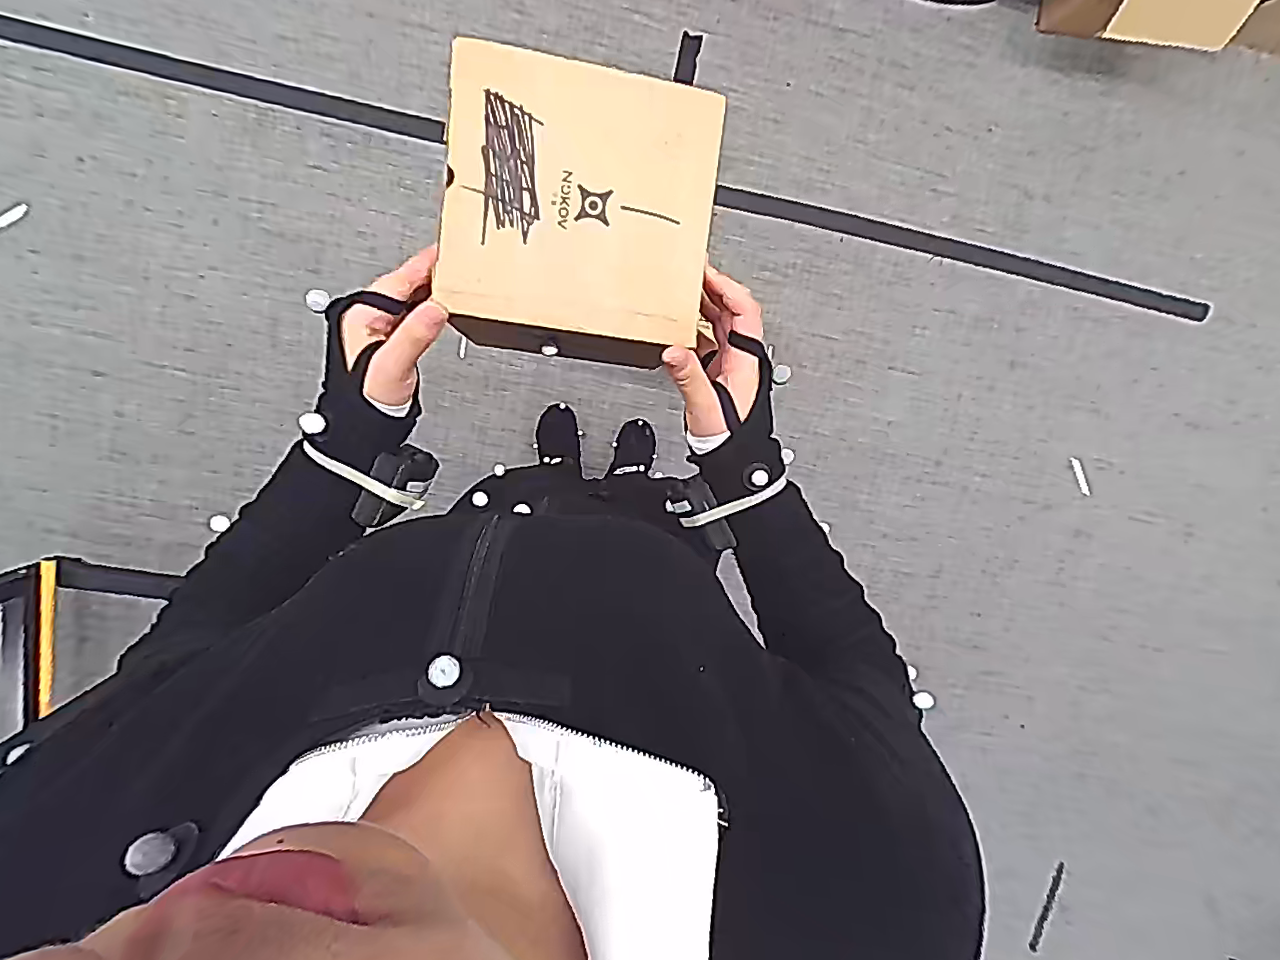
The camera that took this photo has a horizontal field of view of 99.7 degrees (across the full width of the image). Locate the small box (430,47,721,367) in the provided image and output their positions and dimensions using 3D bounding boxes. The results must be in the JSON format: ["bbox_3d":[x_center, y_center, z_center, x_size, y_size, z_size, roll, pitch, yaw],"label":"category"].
[{"bbox_3d":[-0.051,-0.188,0.430,0.179,0.176,0.168,6,96,-9],"label":"small box"}]

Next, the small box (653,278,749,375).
[{"bbox_3d":[0.123,-0.339,1.203,0.168,0.176,0.179,12,99,-6],"label":"small box"}]
